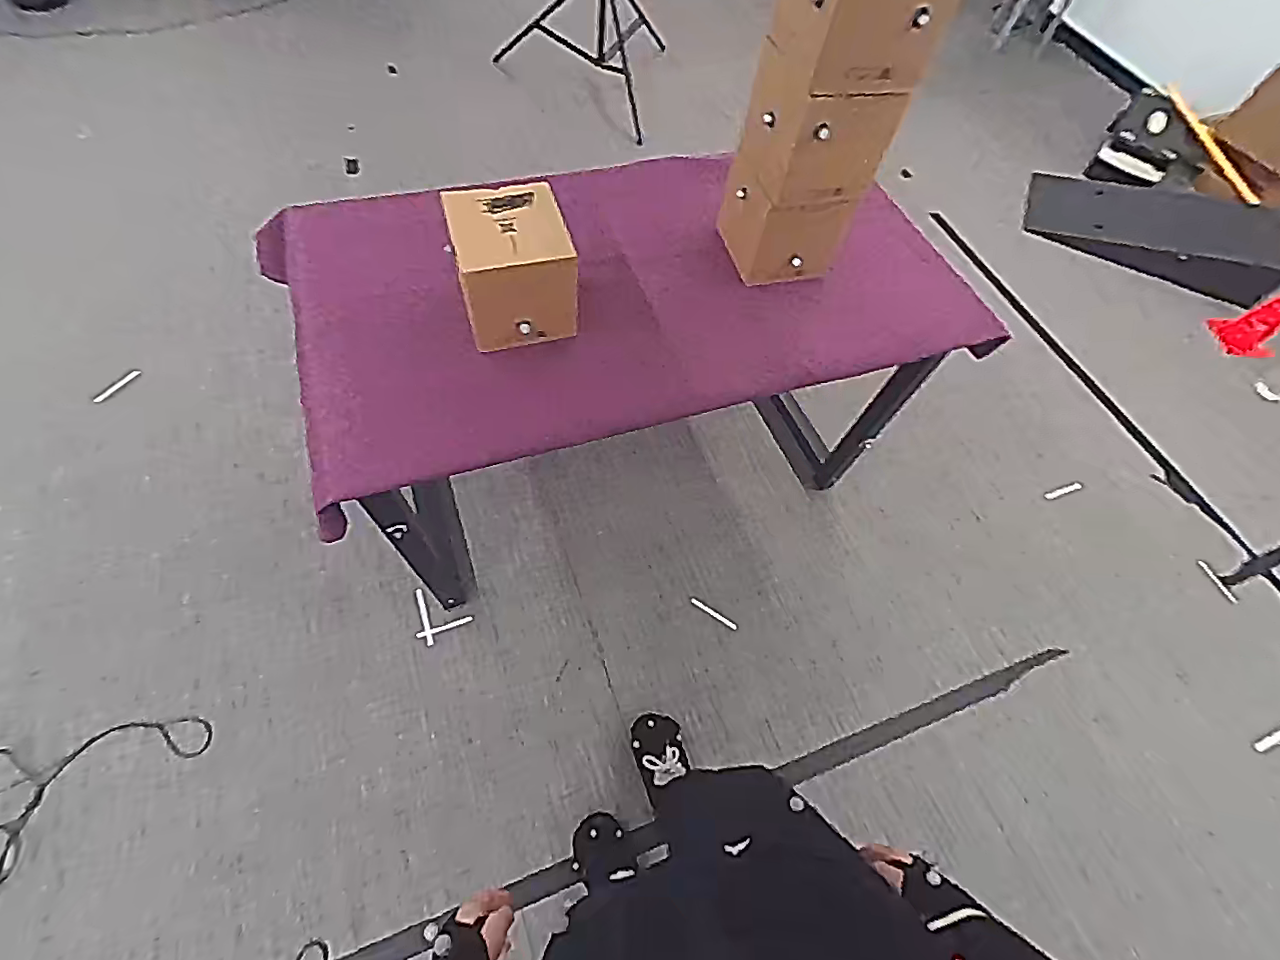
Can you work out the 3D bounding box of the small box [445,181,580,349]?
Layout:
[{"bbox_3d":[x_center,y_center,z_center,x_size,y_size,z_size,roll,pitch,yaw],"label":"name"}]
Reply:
[{"bbox_3d":[-0.198,-0.338,0.860,0.168,0.176,0.179,-14,65,-13],"label":"small box"}]

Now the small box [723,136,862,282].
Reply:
[{"bbox_3d":[0.266,-0.494,0.993,0.168,0.176,0.179,-11,64,-11],"label":"small box"}]

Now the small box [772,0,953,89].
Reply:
[{"bbox_3d":[0.295,-0.641,0.702,0.168,0.176,0.179,-9,62,-12],"label":"small box"}]
